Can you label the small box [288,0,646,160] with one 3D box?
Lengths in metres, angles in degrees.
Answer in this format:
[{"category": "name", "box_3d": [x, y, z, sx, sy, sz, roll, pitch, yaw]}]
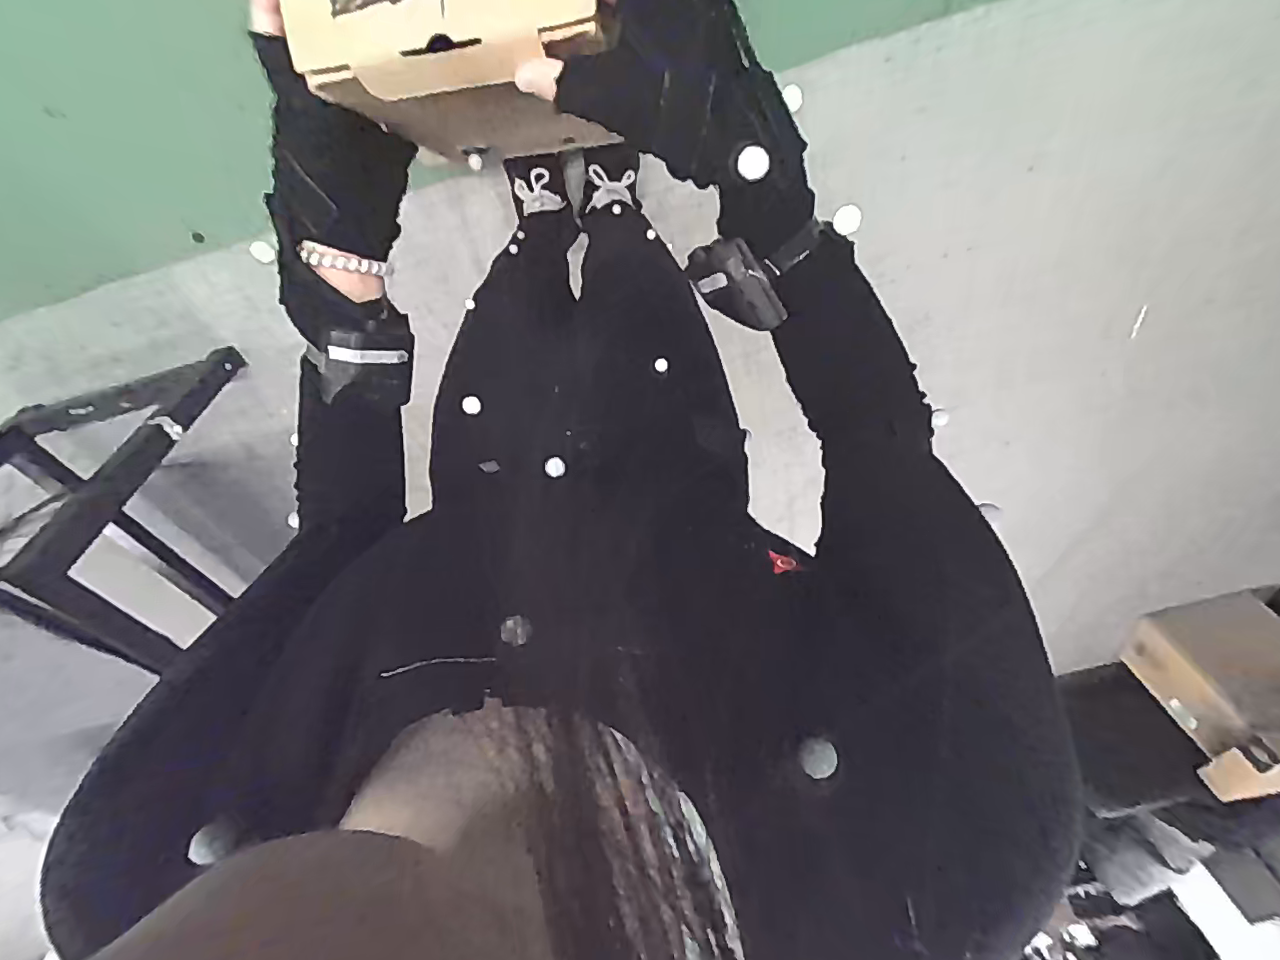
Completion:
[{"category": "small box", "box_3d": [-0.092, -0.316, 0.329, 0.168, 0.176, 0.179, -4, 105, 9]}]
